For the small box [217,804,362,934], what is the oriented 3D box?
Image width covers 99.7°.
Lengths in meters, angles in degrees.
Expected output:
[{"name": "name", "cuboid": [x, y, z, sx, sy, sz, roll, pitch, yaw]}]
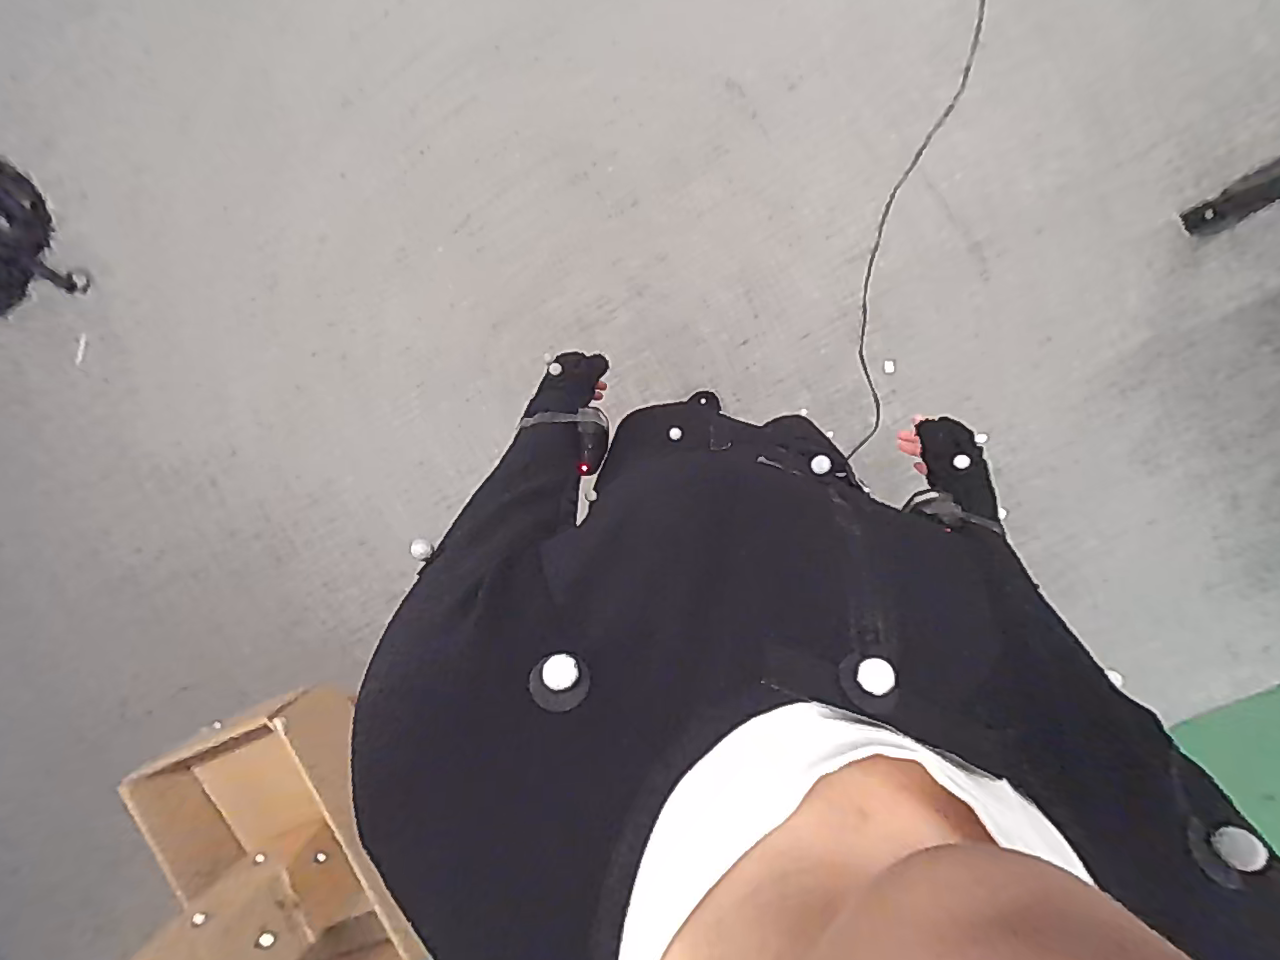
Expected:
[{"name": "small box", "cuboid": [-0.730, 0.832, 1.152, 0.179, 0.176, 0.168, -22, 92, 10]}]

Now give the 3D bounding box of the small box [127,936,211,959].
[{"name": "small box", "cuboid": [-0.778, 0.866, 0.828, 0.168, 0.176, 0.179, -25, 90, 9]}]

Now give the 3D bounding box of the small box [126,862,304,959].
[{"name": "small box", "cuboid": [-0.760, 0.850, 0.992, 0.179, 0.176, 0.168, -23, 91, 8]}]
